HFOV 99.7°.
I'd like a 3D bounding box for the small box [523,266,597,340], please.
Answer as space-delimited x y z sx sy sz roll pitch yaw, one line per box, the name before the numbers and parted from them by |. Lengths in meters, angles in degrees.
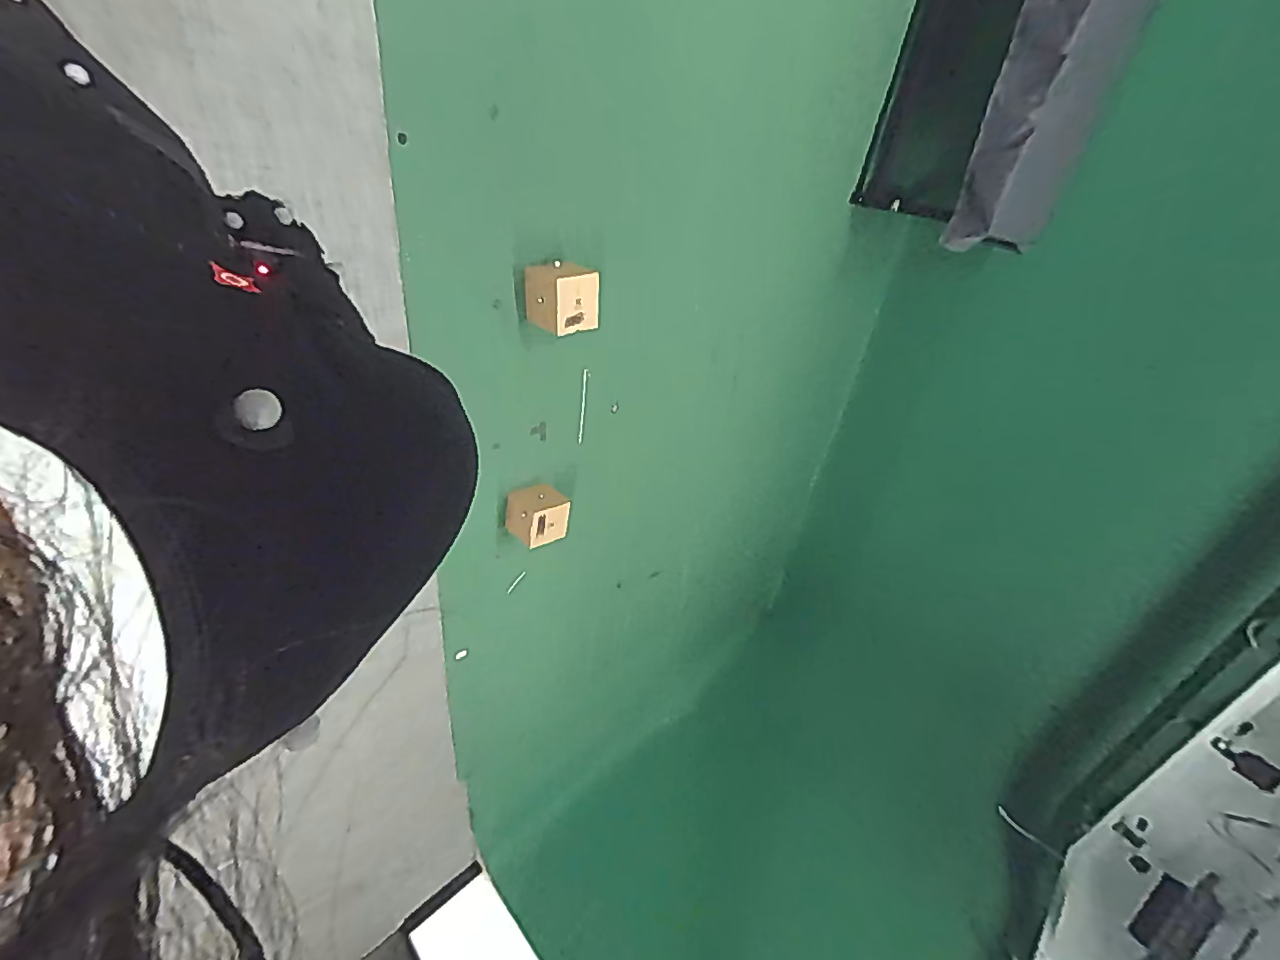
small box | -0.255 -0.565 1.716 0.168 0.176 0.179 -25 133 -38
